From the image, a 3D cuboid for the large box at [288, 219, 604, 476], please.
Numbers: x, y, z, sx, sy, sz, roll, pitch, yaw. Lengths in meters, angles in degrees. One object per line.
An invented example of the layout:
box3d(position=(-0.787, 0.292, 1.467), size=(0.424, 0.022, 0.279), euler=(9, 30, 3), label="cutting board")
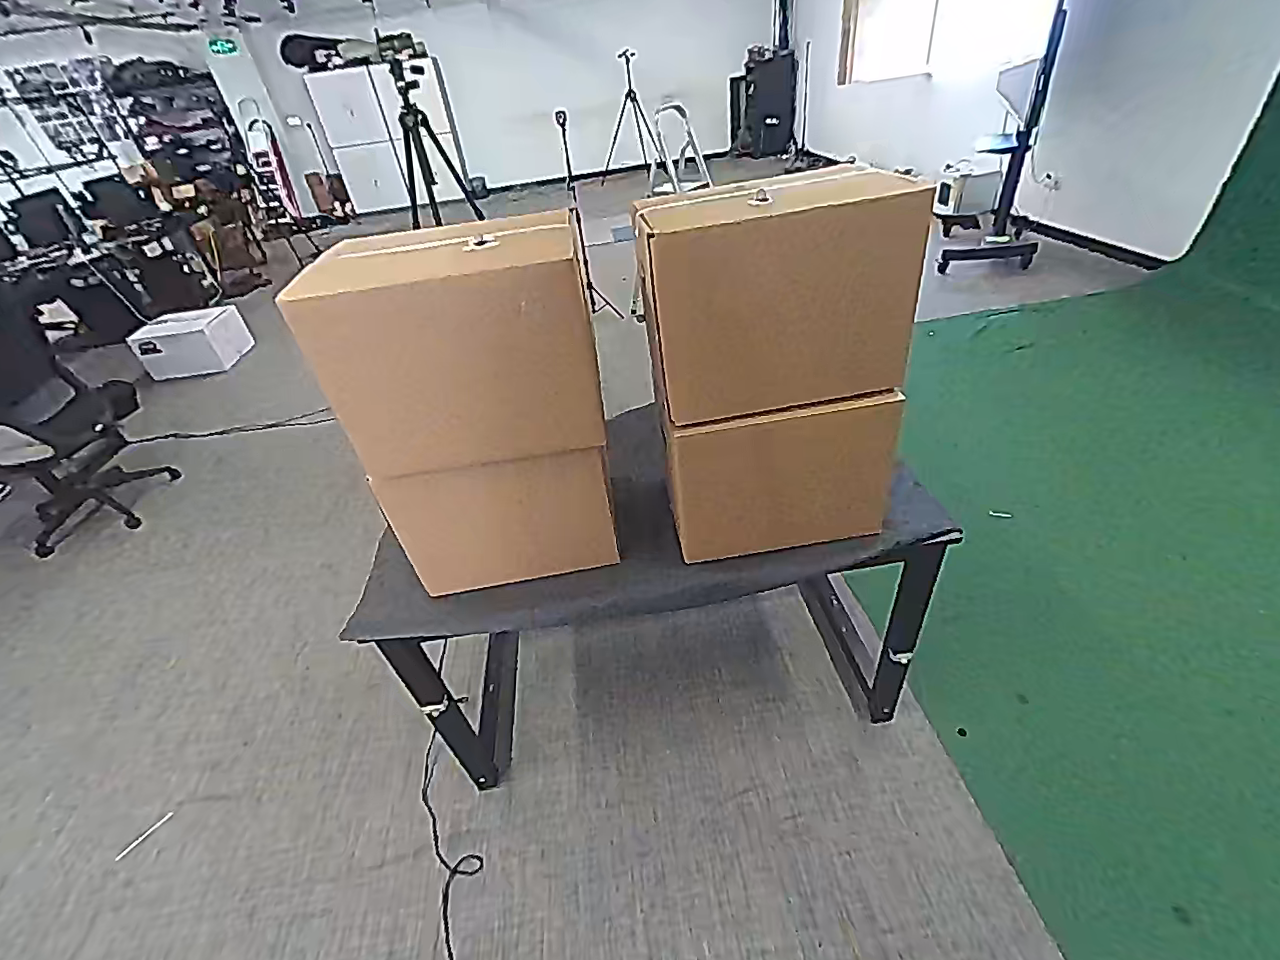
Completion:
box3d(position=(-0.285, -0.237, 0.939), size=(0.408, 0.320, 0.320), euler=(-8, 39, -2), label="large box")
